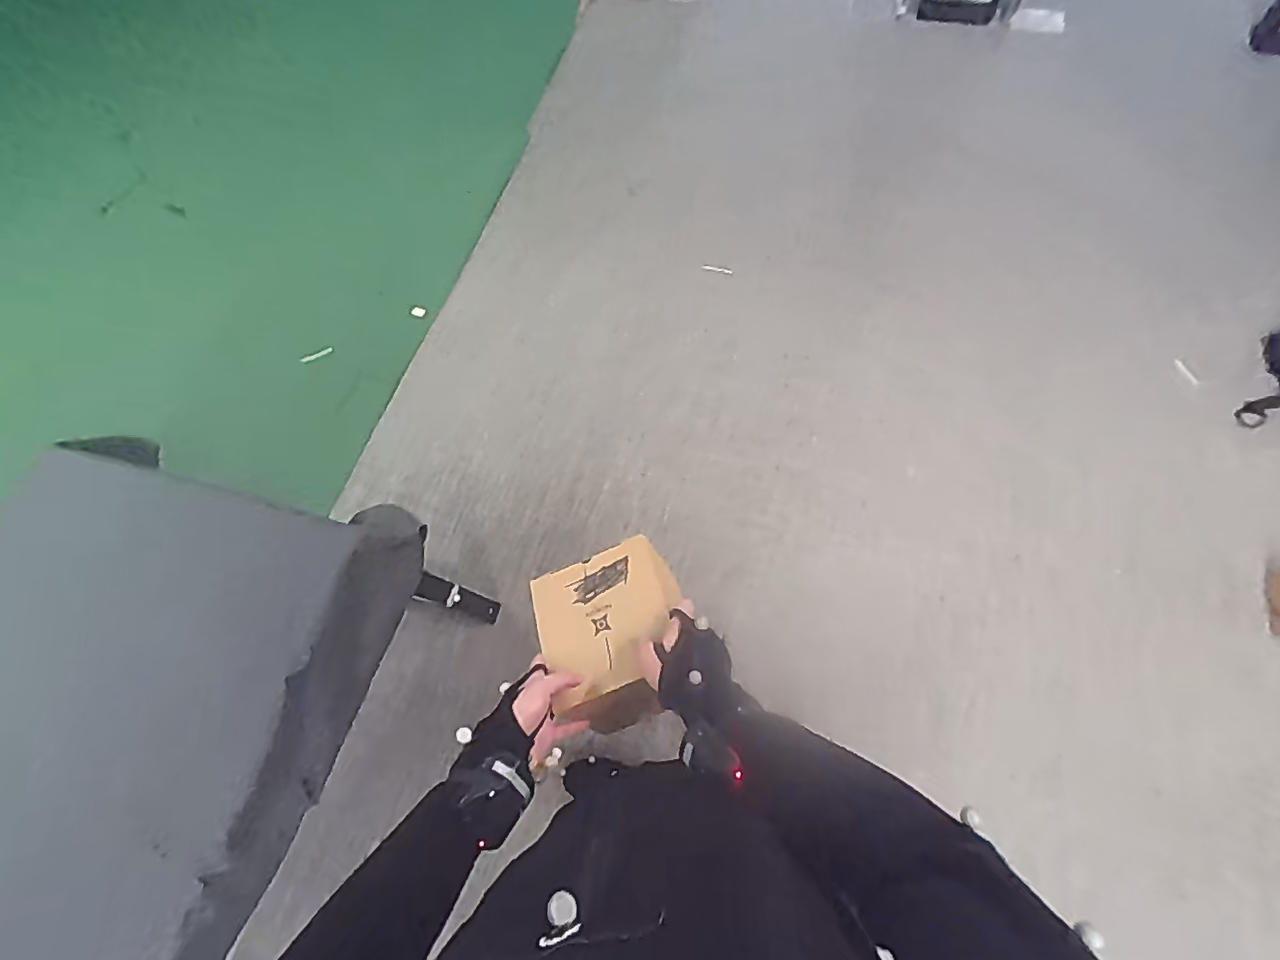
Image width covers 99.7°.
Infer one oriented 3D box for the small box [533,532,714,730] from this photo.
[{"bbox_3d":[-0.019,0.203,0.711,0.168,0.176,0.179,-25,52,6],"label":"small box"}]
